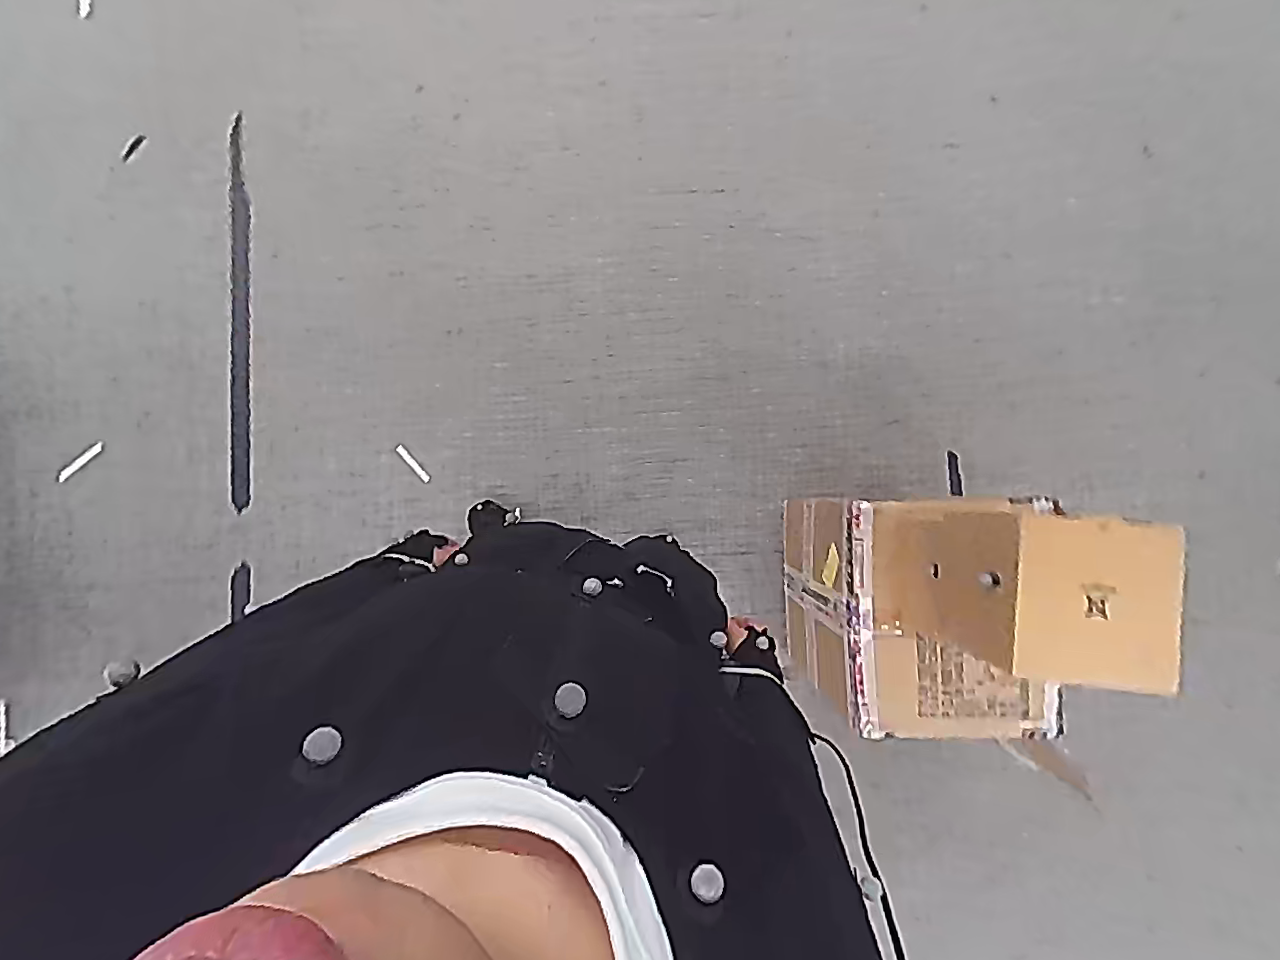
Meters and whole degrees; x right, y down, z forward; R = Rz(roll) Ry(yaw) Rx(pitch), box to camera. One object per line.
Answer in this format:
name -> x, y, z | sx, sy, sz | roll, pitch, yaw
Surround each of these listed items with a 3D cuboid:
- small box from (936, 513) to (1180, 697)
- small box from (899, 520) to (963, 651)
small box -> 0.478, 0.135, 0.646 | 0.168, 0.176, 0.179 | 6, 86, 4
small box -> 0.503, 0.148, 0.807 | 0.168, 0.176, 0.179 | 0, 87, 3
